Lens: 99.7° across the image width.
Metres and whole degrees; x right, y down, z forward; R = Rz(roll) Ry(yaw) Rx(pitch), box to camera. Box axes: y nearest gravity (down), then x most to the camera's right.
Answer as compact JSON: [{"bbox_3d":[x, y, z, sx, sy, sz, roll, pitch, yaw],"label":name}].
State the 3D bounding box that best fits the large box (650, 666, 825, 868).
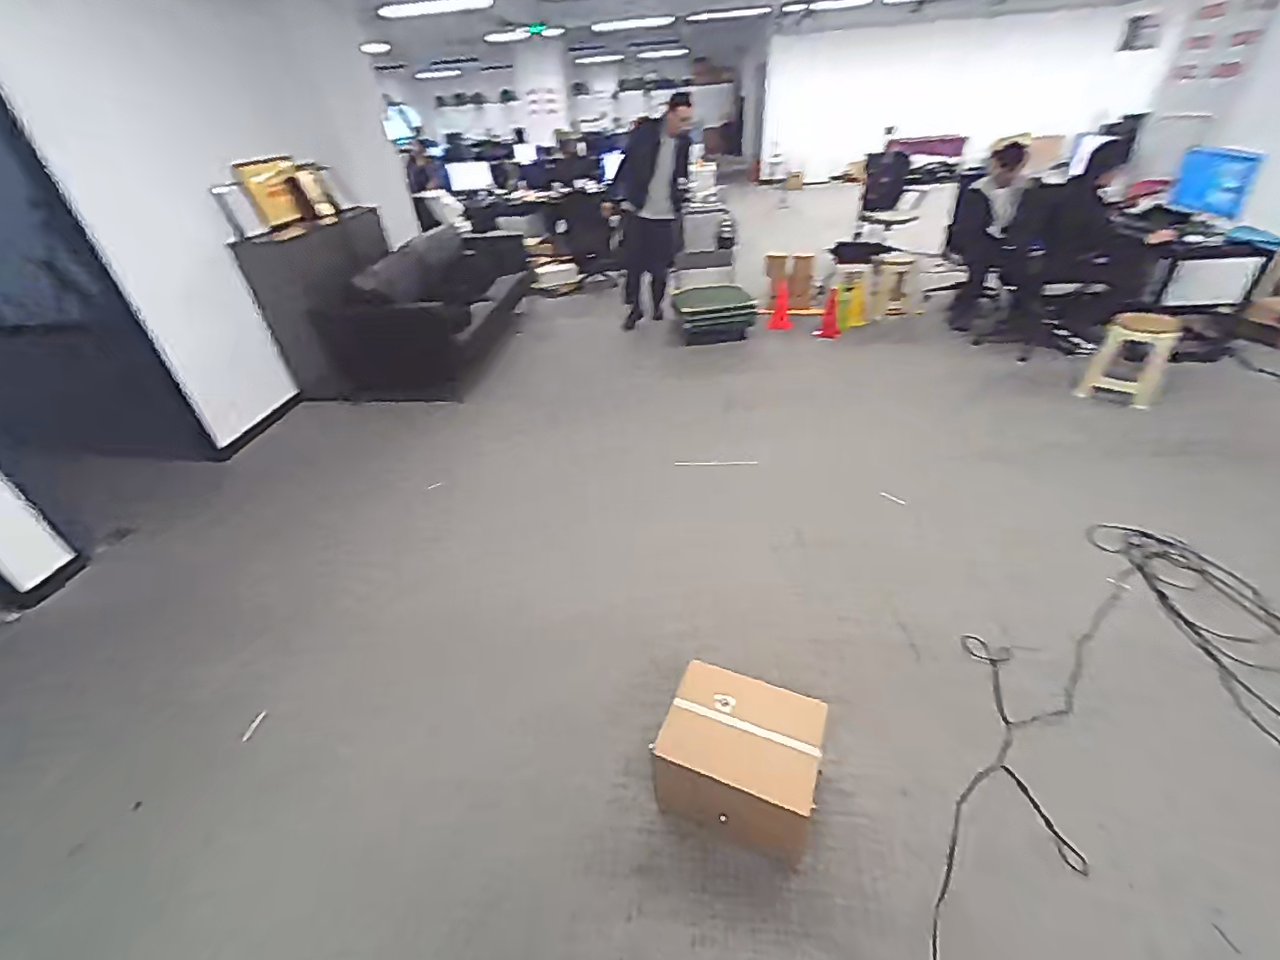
[{"bbox_3d":[0.280,0.791,1.517,0.408,0.320,0.320,10,37,23],"label":"large box"}]
